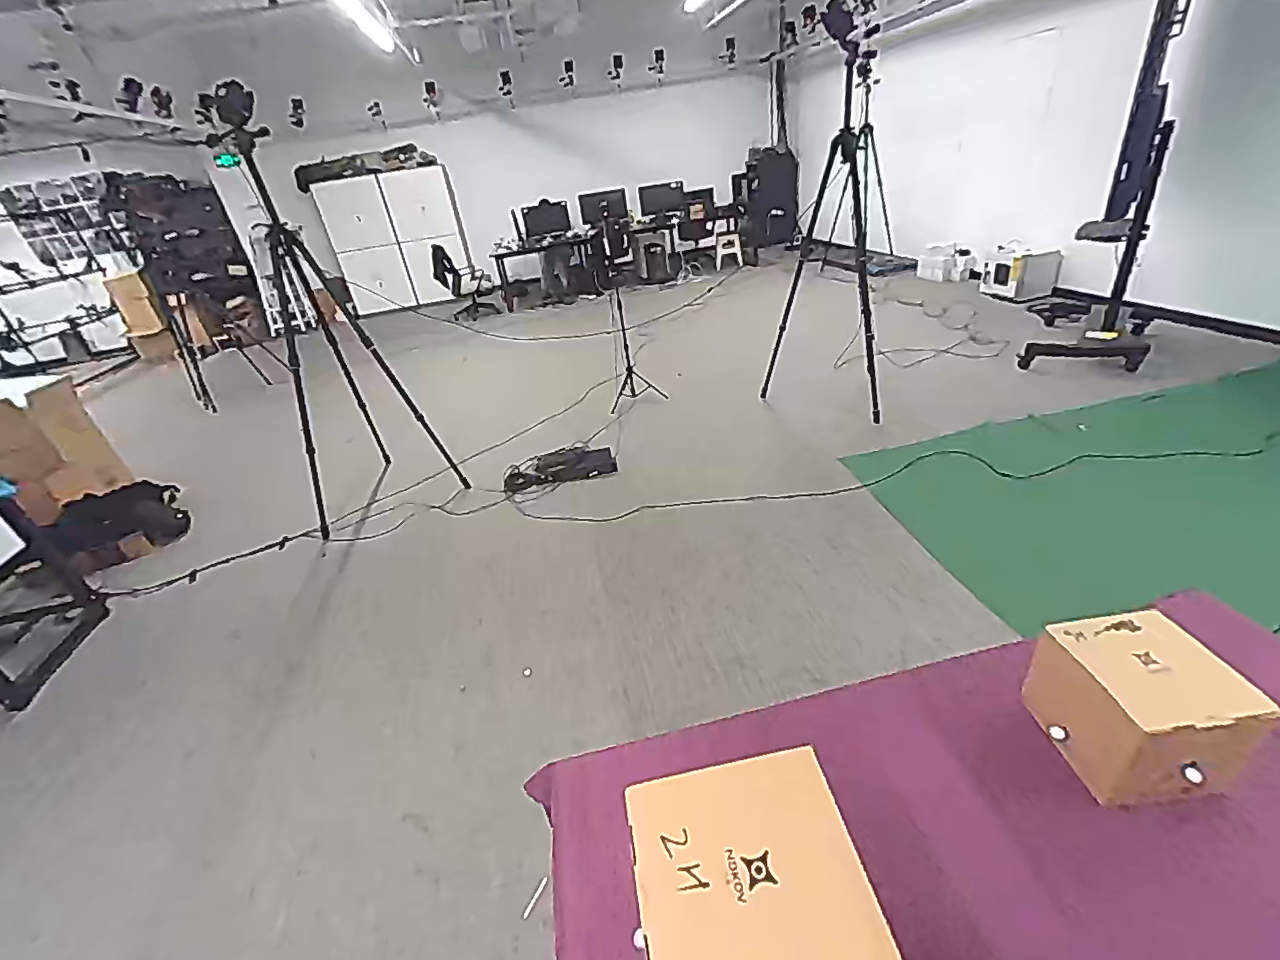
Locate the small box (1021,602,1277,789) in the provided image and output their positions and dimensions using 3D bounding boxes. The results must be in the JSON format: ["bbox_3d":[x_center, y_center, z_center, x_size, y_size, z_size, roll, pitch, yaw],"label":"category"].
[{"bbox_3d":[0.678,0.301,0.750,0.168,0.176,0.179,-9,31,1],"label":"small box"}]

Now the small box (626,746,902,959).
[{"bbox_3d":[0.093,0.366,0.467,0.179,0.176,0.168,-12,36,-2],"label":"small box"}]
